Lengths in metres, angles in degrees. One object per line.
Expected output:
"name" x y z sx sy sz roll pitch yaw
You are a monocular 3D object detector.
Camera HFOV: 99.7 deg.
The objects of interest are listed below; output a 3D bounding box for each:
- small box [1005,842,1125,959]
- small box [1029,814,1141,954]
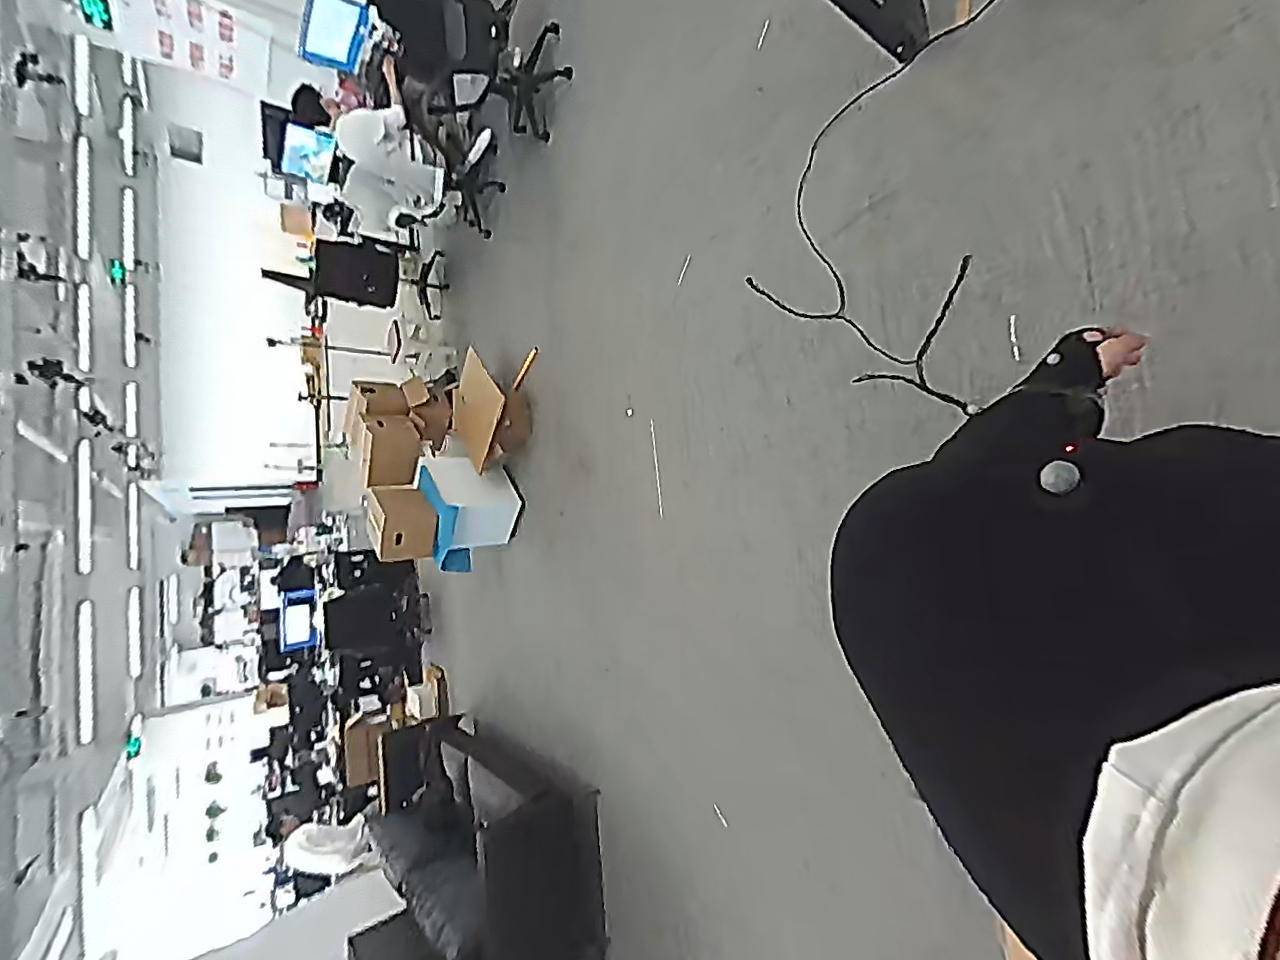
"small box" 0.903 0.924 1.148 0.168 0.176 0.179 -5 87 50
"small box" 1.029 0.916 1.251 0.168 0.176 0.179 -9 85 51
